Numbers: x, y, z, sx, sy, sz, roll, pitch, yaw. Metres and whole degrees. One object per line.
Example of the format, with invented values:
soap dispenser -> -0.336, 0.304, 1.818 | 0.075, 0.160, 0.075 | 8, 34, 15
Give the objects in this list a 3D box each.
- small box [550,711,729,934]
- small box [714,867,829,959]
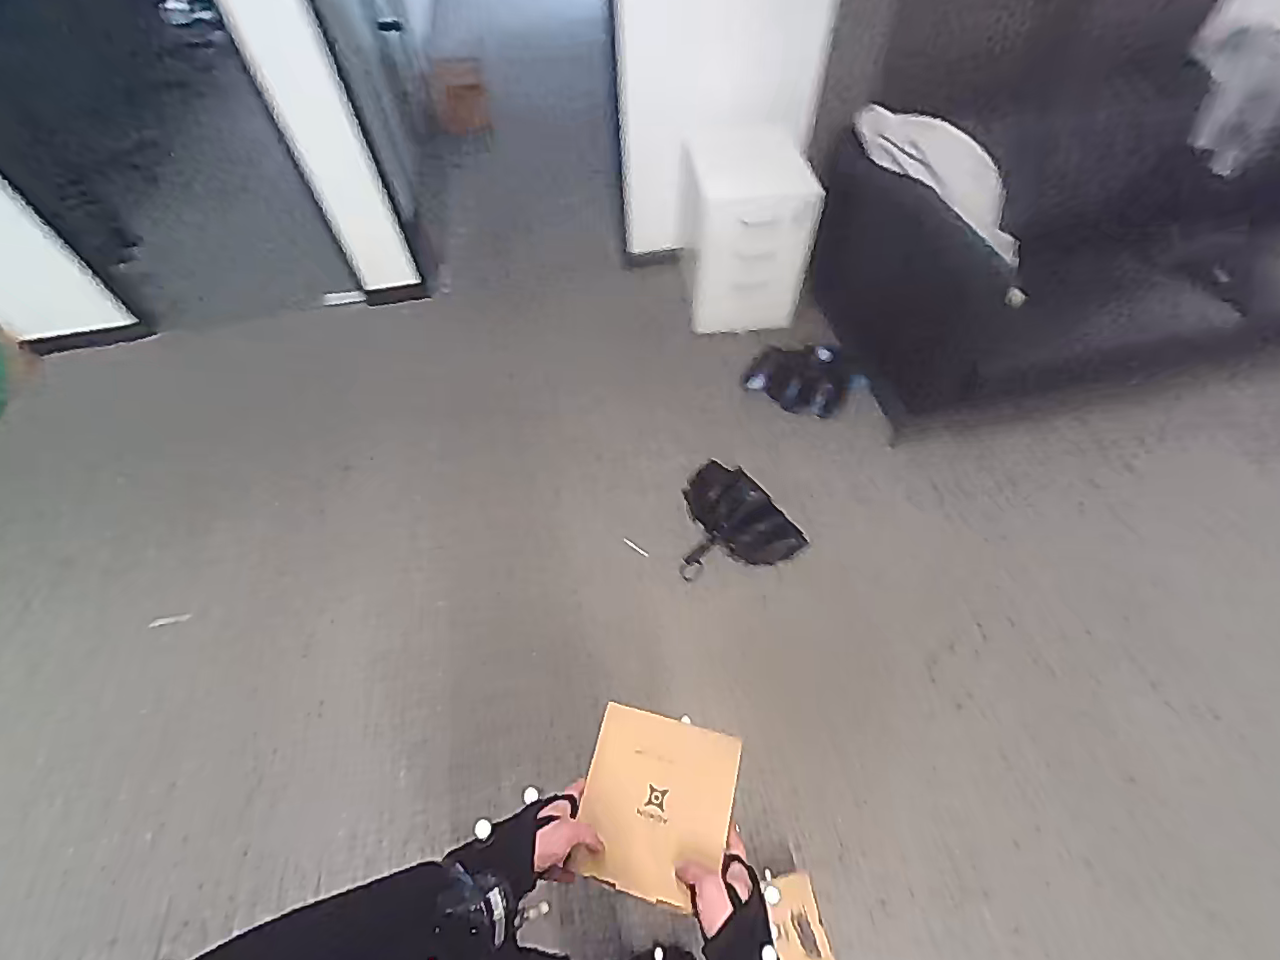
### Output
small box -> 0.008, 0.398, 0.656 | 0.168, 0.176, 0.179 | 10, 63, 9
small box -> 0.263, 0.920, 1.119 | 0.179, 0.176, 0.168 | -11, 56, -5
